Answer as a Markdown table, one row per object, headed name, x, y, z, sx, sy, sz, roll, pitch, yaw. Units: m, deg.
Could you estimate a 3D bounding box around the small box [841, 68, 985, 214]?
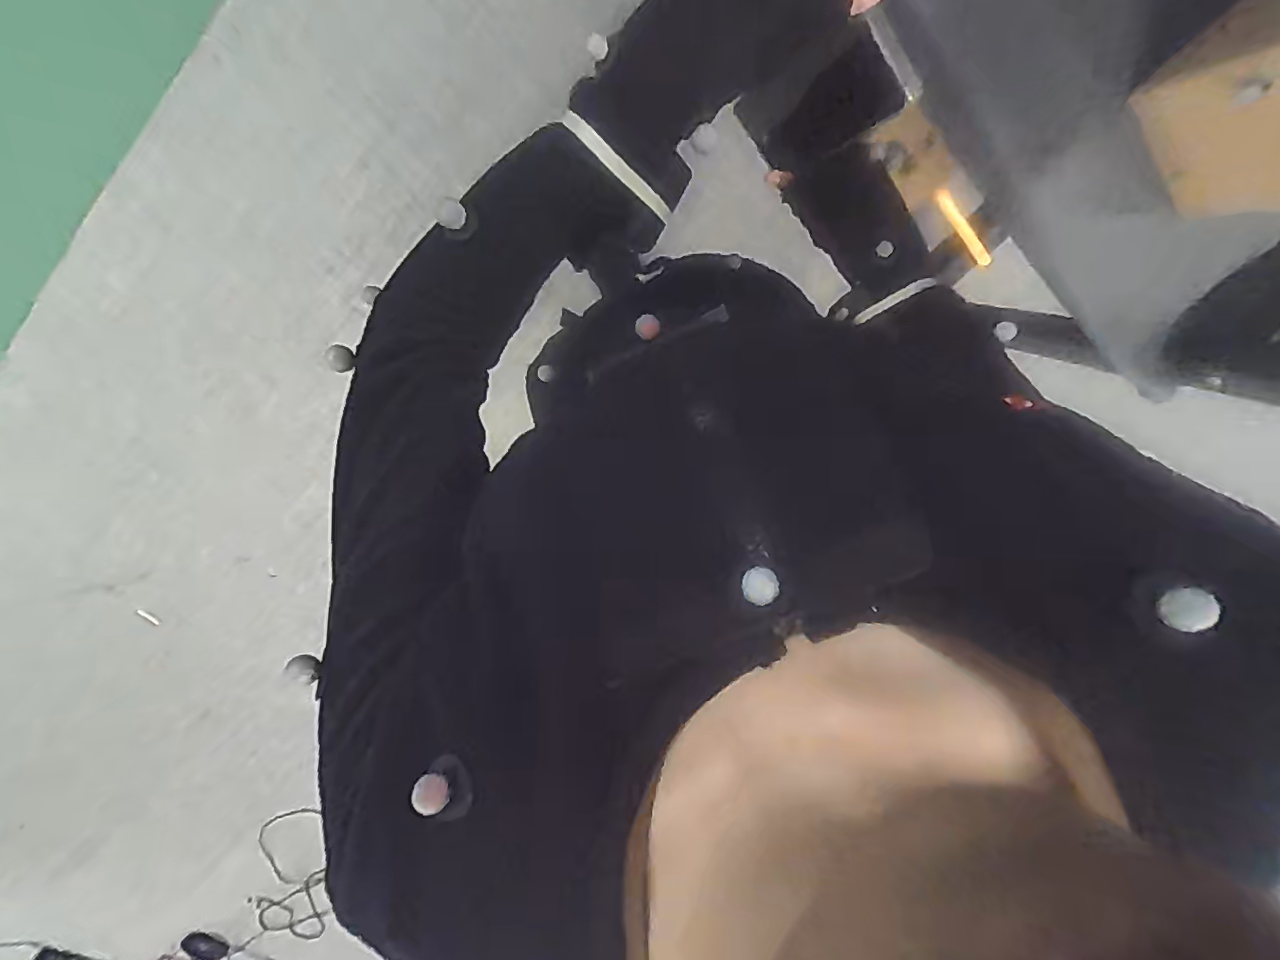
| name | x | y | z | sx | sy | sz | roll | pitch | yaw |
| --- | --- | --- | --- | --- | --- | --- | --- | --- | --- |
| small box | 0.529 | -0.659 | 1.081 | 0.179 | 0.176 | 0.168 | -40 | 110 | 13 |
